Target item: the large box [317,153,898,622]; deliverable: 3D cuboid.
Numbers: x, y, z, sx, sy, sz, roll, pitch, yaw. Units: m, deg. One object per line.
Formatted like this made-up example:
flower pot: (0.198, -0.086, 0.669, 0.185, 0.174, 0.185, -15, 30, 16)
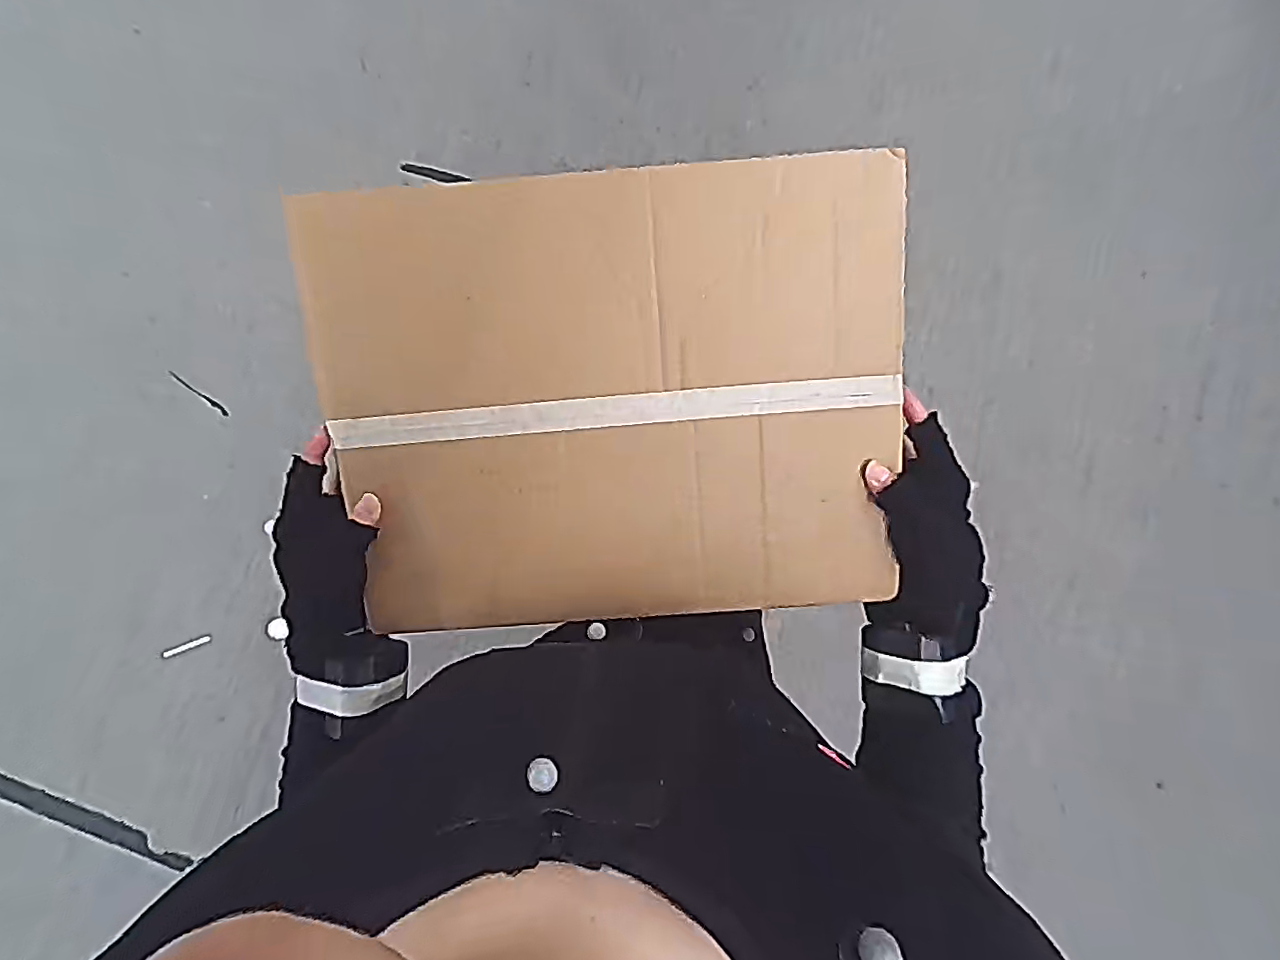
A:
large box: (-0.014, -0.081, 0.539, 0.408, 0.320, 0.320, -4, 102, 1)
